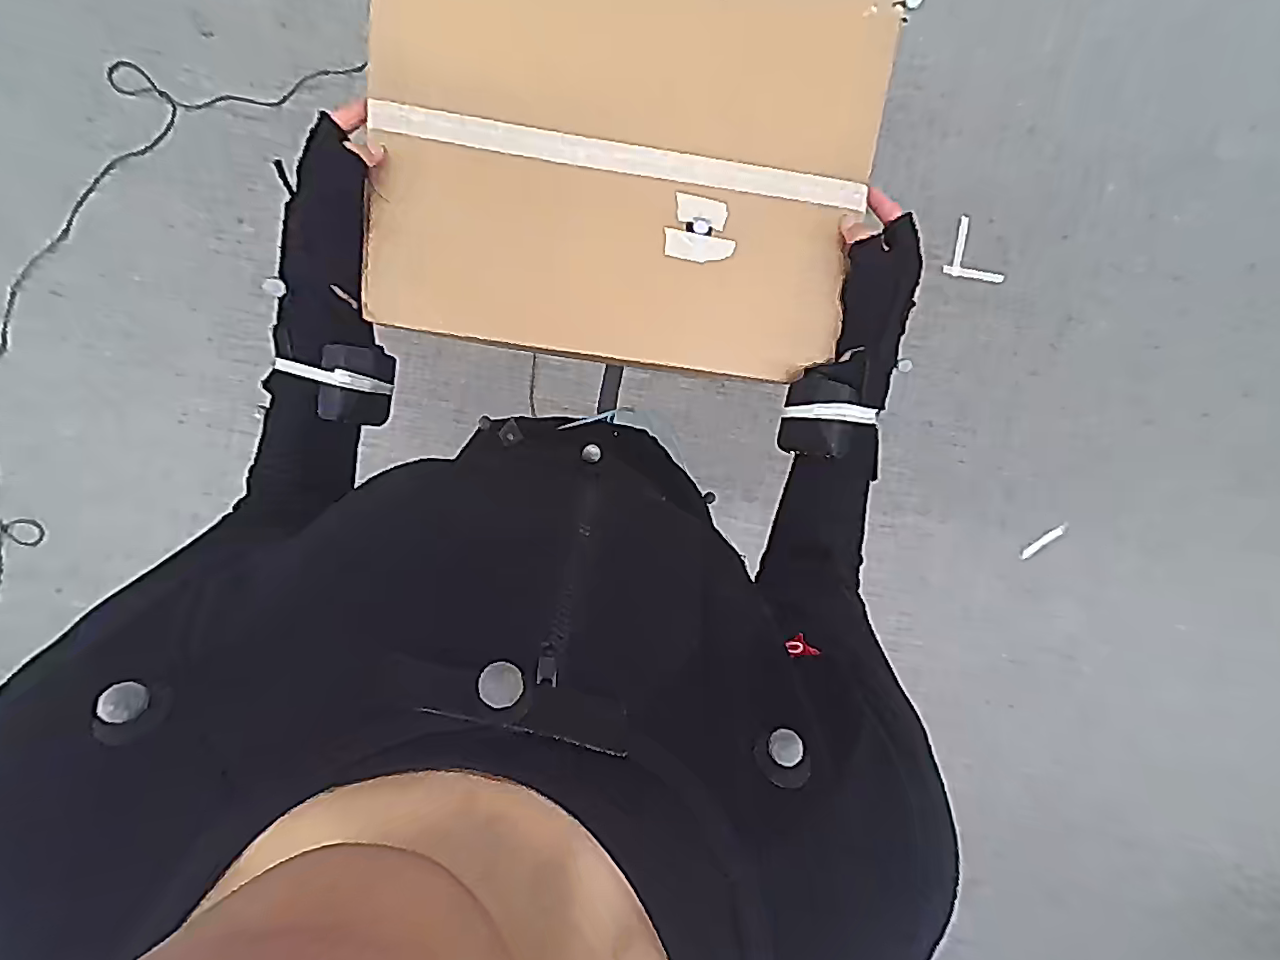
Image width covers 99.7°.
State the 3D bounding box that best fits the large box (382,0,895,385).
[{"bbox_3d":[-0.018,-0.287,0.594,0.408,0.320,0.320,7,102,-6],"label":"large box"}]
